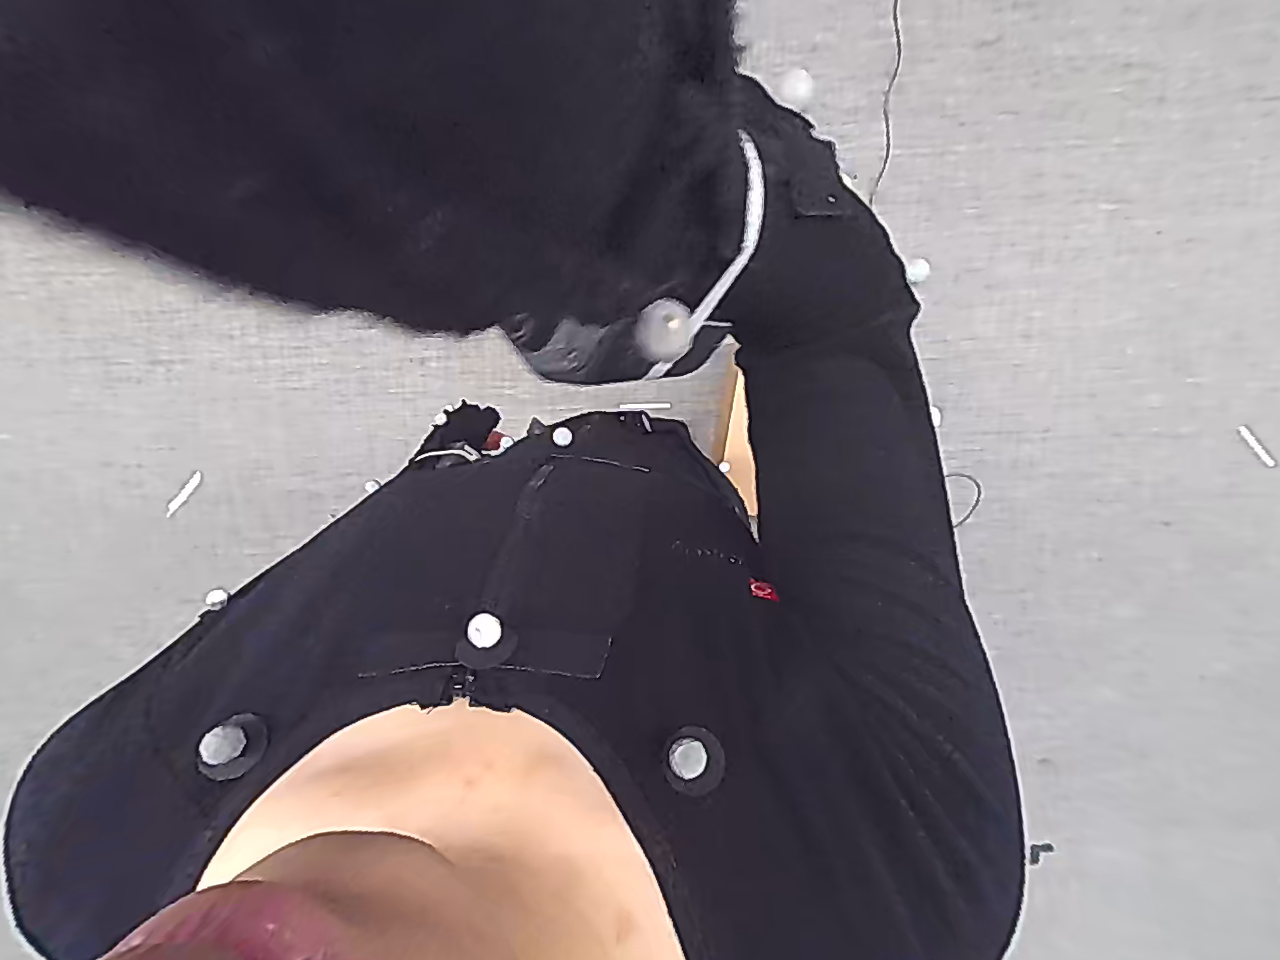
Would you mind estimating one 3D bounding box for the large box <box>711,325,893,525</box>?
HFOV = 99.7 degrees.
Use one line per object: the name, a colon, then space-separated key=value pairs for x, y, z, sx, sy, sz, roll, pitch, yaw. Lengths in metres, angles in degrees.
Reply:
large box: x=0.366 y=-0.139 z=1.319 sx=0.320 sy=0.320 sz=0.408 roll=9 pitch=99 yaw=2
